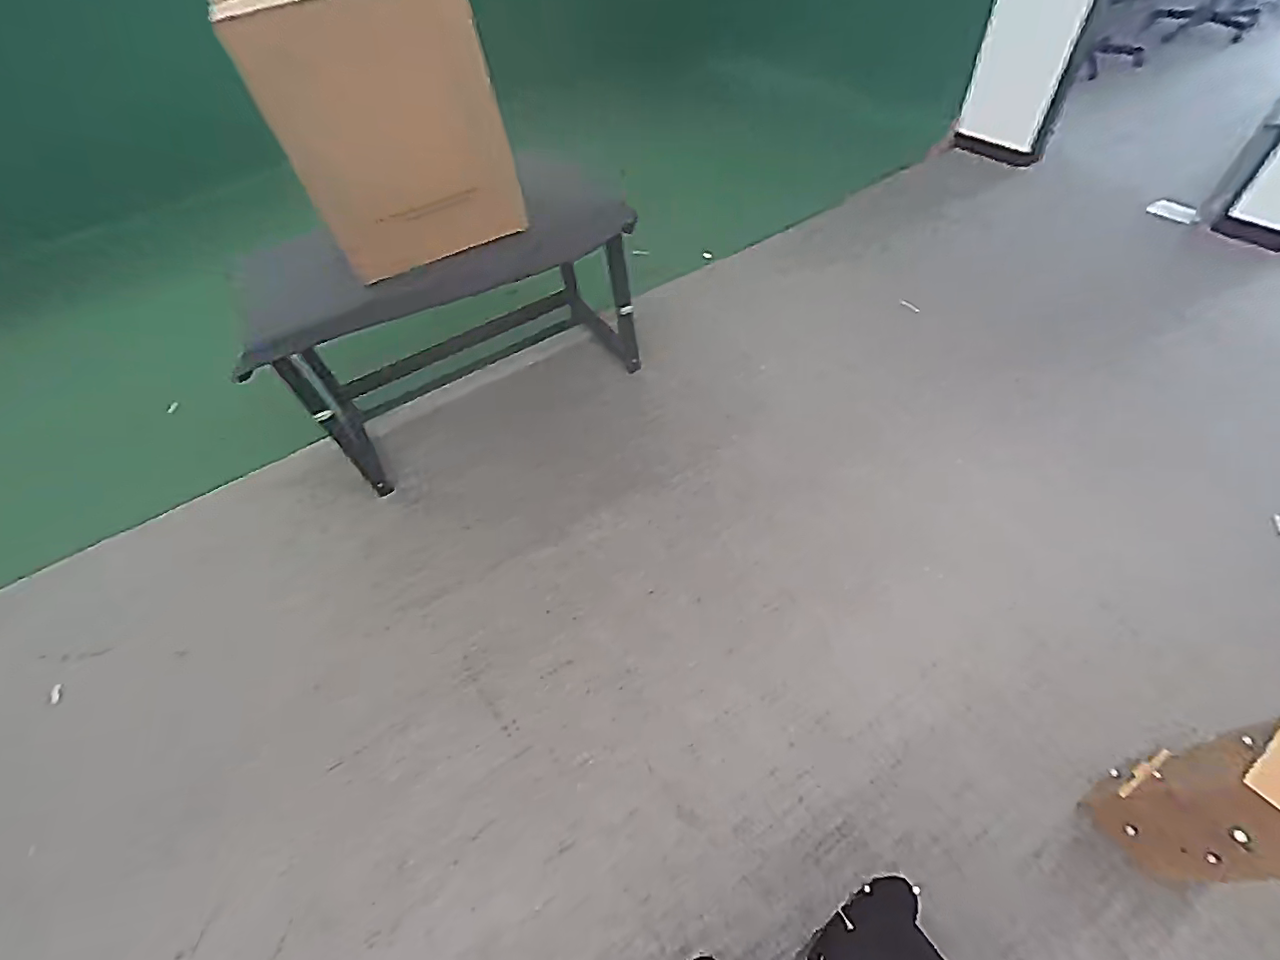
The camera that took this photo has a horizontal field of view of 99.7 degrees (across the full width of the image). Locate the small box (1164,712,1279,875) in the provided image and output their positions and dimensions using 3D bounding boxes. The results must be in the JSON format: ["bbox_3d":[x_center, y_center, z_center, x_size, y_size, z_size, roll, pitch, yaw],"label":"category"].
[{"bbox_3d":[1.075,0.538,0.929,0.179,0.176,0.168,-29,55,-17],"label":"small box"}]

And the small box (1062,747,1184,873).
[{"bbox_3d":[1.110,0.741,1.211,0.168,0.176,0.179,-29,56,-18],"label":"small box"}]

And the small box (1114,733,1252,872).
[{"bbox_3d":[1.096,0.637,1.062,0.179,0.176,0.168,-28,57,-17],"label":"small box"}]
